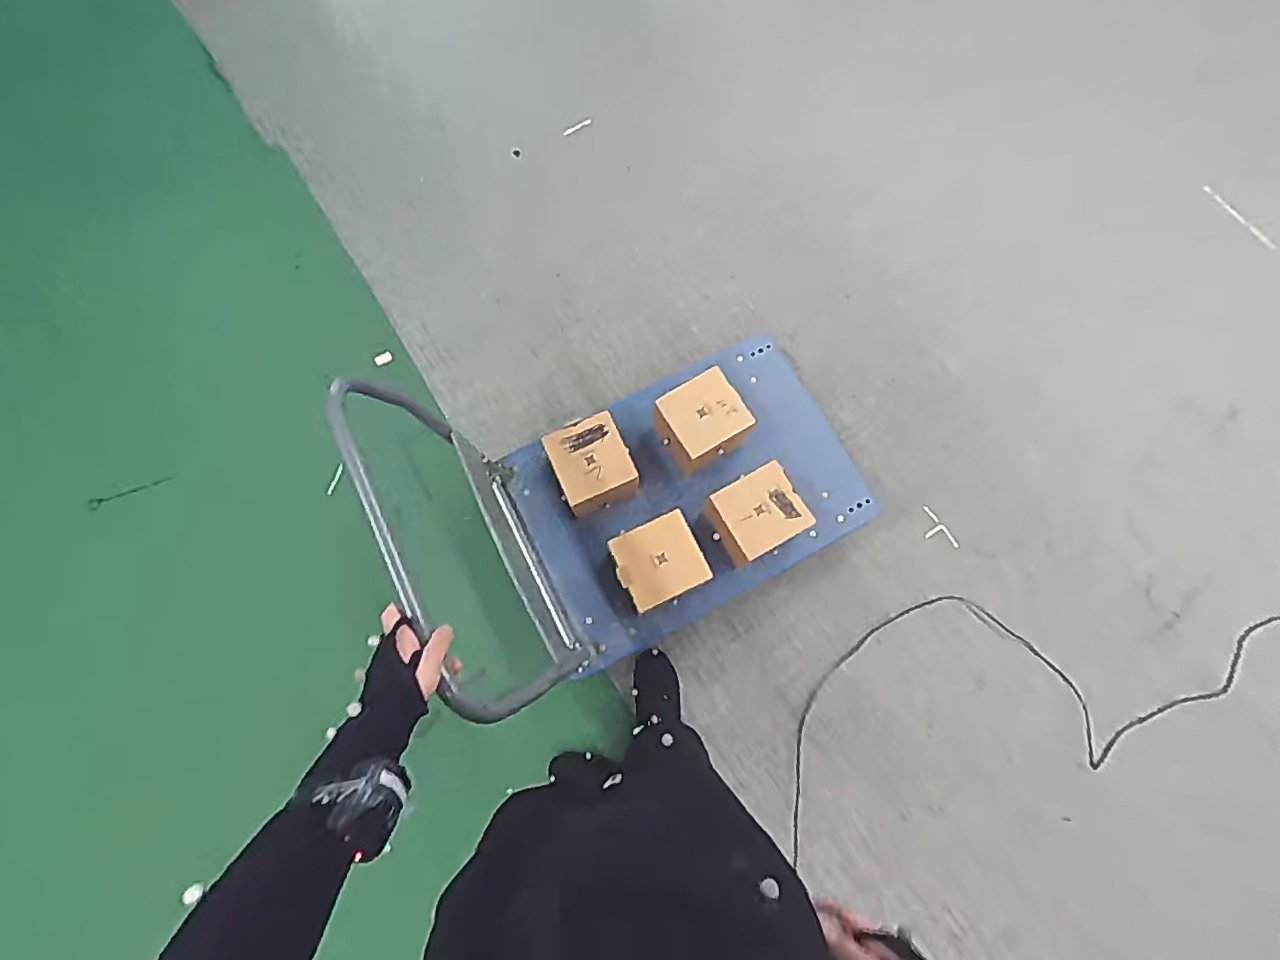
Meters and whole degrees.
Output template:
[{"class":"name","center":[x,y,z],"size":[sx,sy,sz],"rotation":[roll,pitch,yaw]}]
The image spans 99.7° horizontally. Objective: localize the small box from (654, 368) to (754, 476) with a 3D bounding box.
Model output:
[{"class":"small box","center":[0.146,-0.131,1.299],"size":[0.179,0.176,0.168],"rotation":[-30,78,-8]}]

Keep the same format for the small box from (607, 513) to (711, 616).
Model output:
[{"class":"small box","center":[0.040,0.192,1.216],"size":[0.179,0.176,0.168],"rotation":[-25,77,-5]}]

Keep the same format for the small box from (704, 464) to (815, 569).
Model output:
[{"class":"small box","center":[0.264,0.089,1.242],"size":[0.179,0.176,0.168],"rotation":[-28,76,-6]}]
